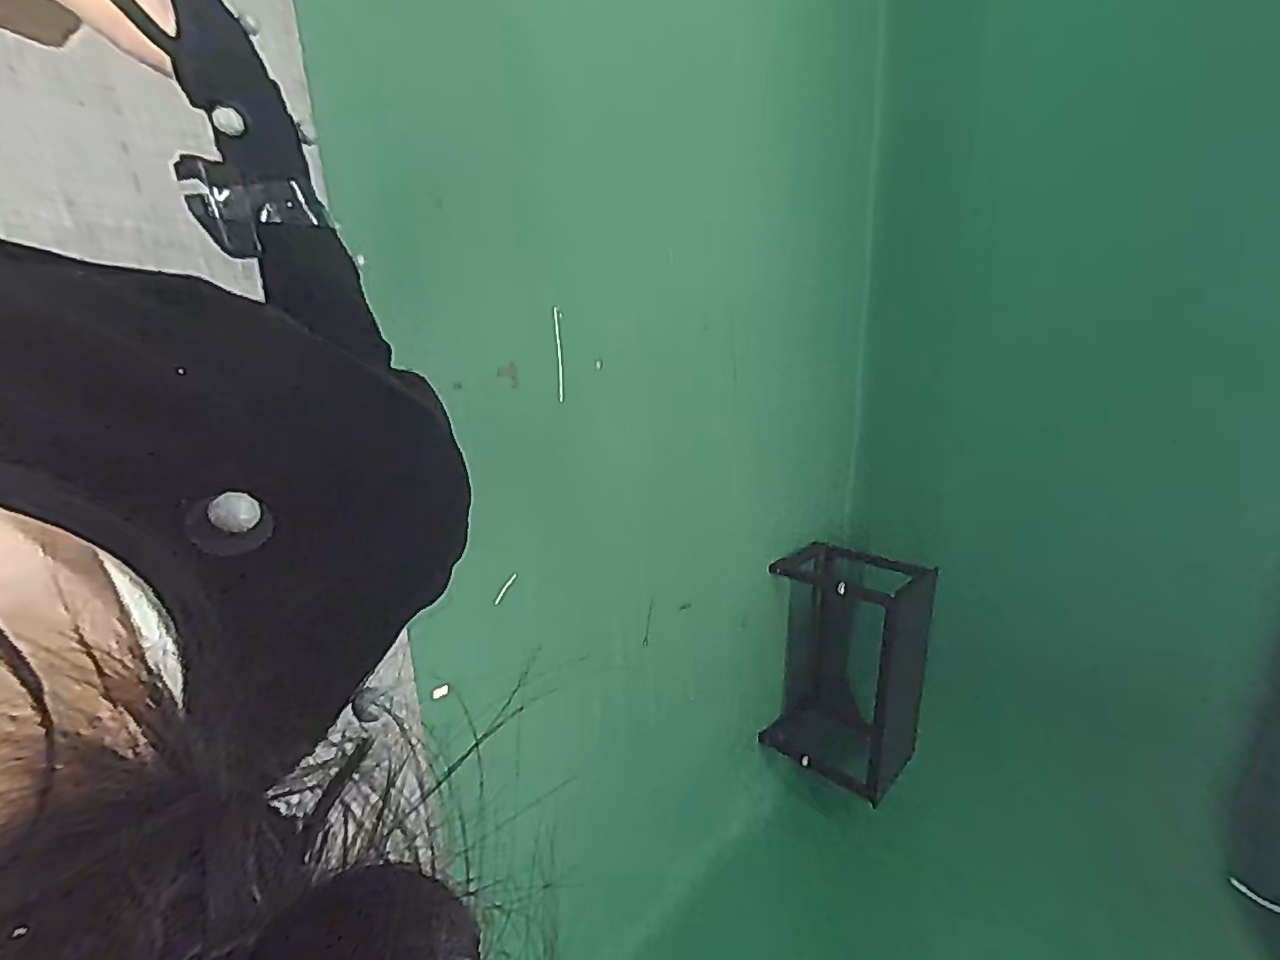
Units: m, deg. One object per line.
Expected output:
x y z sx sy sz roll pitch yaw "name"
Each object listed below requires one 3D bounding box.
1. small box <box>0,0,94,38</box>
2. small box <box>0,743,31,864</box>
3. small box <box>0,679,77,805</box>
-0.423 -0.396 0.295 0.168 0.176 0.179 -3 109 -50 "small box"
-1.088 0.514 0.821 0.168 0.176 0.179 -23 114 -37 "small box"
-1.164 0.493 0.973 0.179 0.176 0.168 -22 113 -38 "small box"
